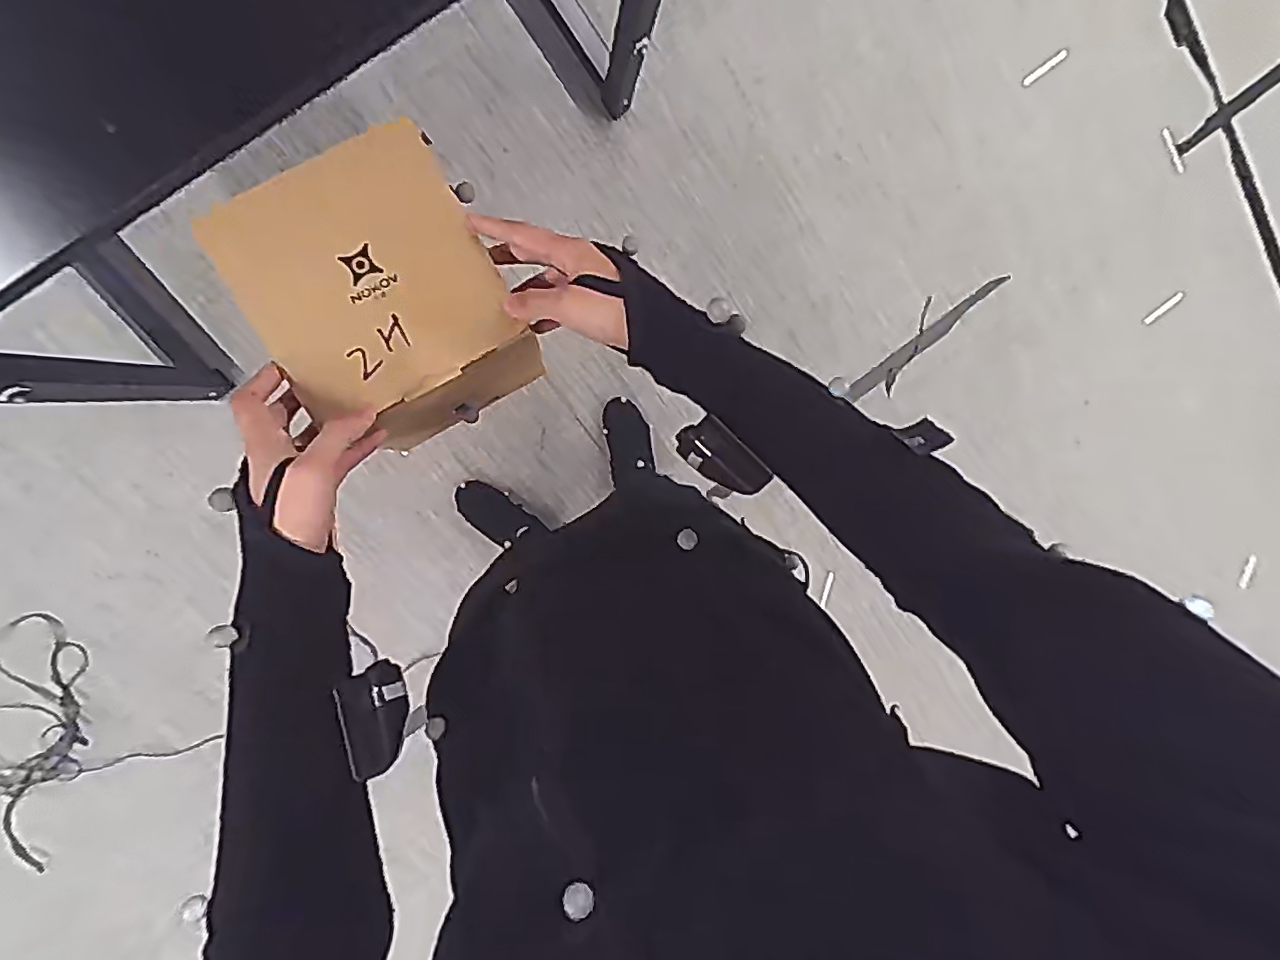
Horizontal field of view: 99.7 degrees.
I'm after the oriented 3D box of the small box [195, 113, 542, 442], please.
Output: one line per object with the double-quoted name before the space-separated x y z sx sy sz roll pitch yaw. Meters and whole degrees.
"small box" -0.197 -0.144 0.452 0.168 0.176 0.179 -30 95 -5
